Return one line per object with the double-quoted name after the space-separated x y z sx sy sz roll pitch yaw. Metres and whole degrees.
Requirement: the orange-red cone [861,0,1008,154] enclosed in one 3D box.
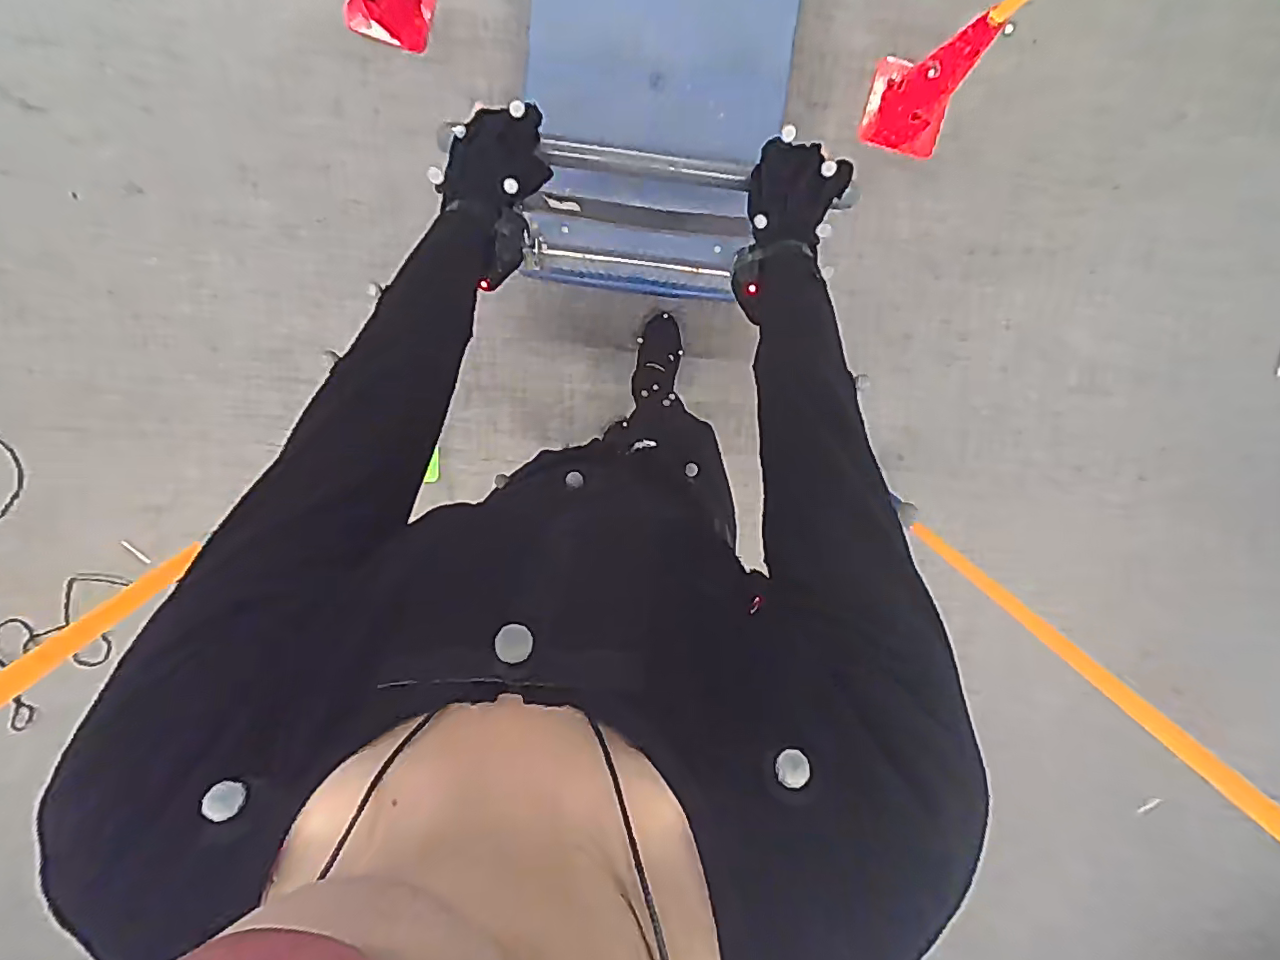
0.673 -0.911 1.187 0.198 0.360 0.199 15 100 -3 "orange-red cone"
